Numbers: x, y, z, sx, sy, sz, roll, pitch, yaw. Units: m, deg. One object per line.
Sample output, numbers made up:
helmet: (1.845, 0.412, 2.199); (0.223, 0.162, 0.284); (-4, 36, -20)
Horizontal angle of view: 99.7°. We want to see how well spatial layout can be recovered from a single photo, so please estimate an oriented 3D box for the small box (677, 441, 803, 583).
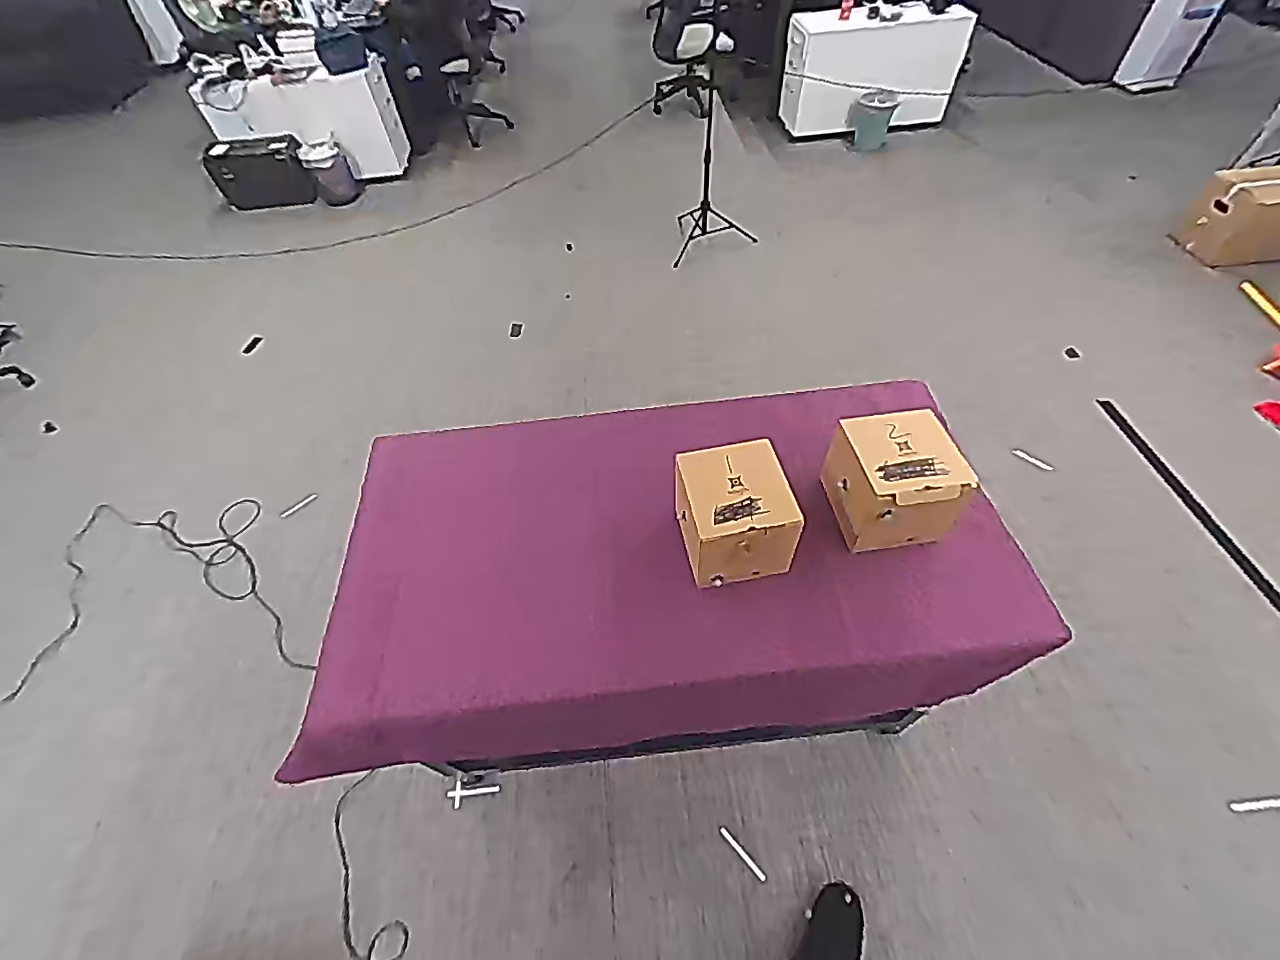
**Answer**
small box: (0.163, 0.063, 0.934); (0.168, 0.176, 0.179); (-10, 52, -4)
